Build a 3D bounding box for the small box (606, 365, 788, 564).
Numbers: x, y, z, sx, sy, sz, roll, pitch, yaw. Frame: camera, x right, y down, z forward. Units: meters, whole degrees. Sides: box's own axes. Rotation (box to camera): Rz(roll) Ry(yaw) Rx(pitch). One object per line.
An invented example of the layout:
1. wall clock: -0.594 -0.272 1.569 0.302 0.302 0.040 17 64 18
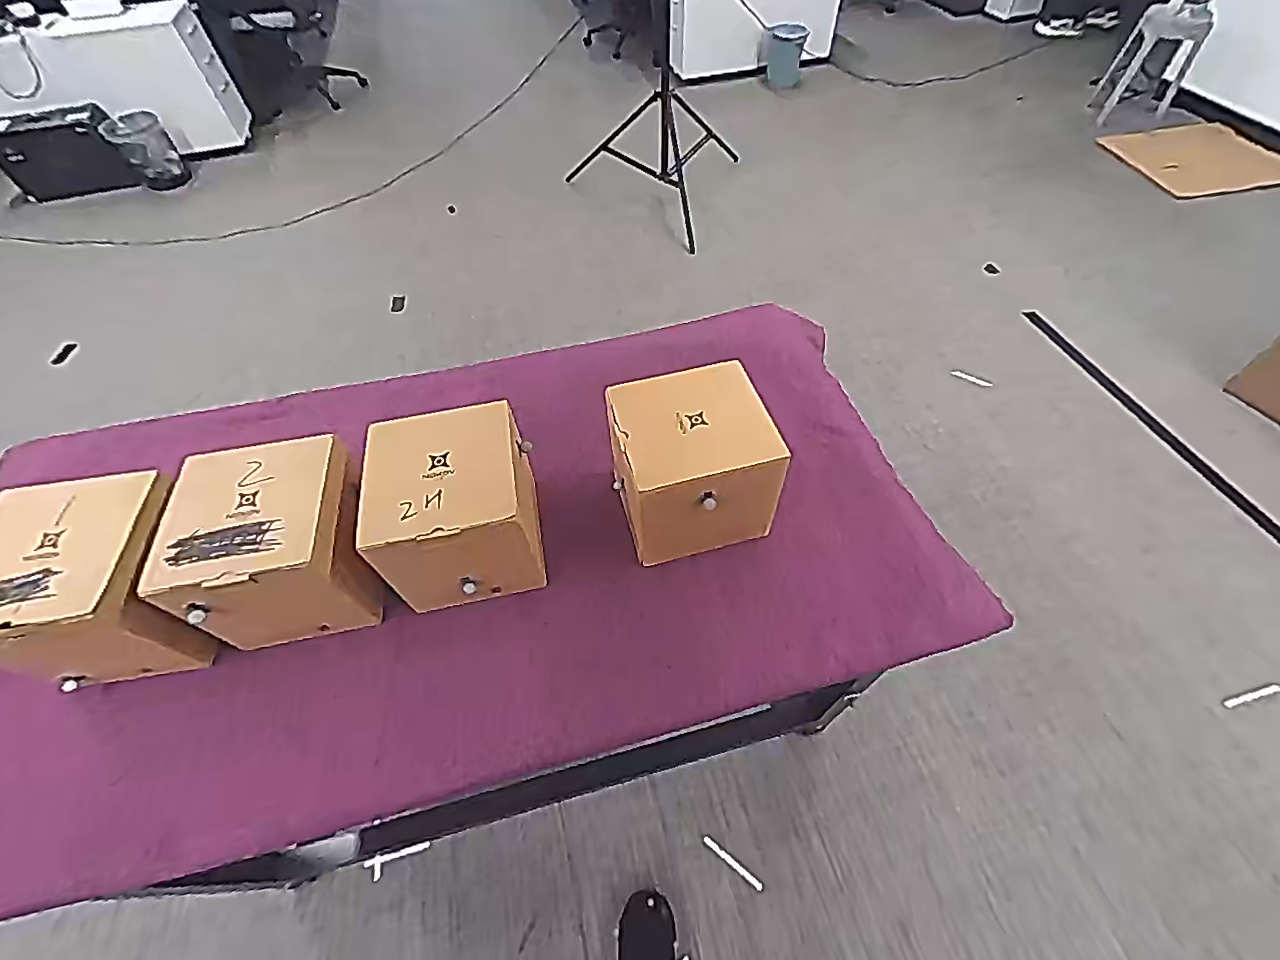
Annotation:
1. small box: 0.063 -0.016 0.690 0.179 0.176 0.168 -14 54 -6
